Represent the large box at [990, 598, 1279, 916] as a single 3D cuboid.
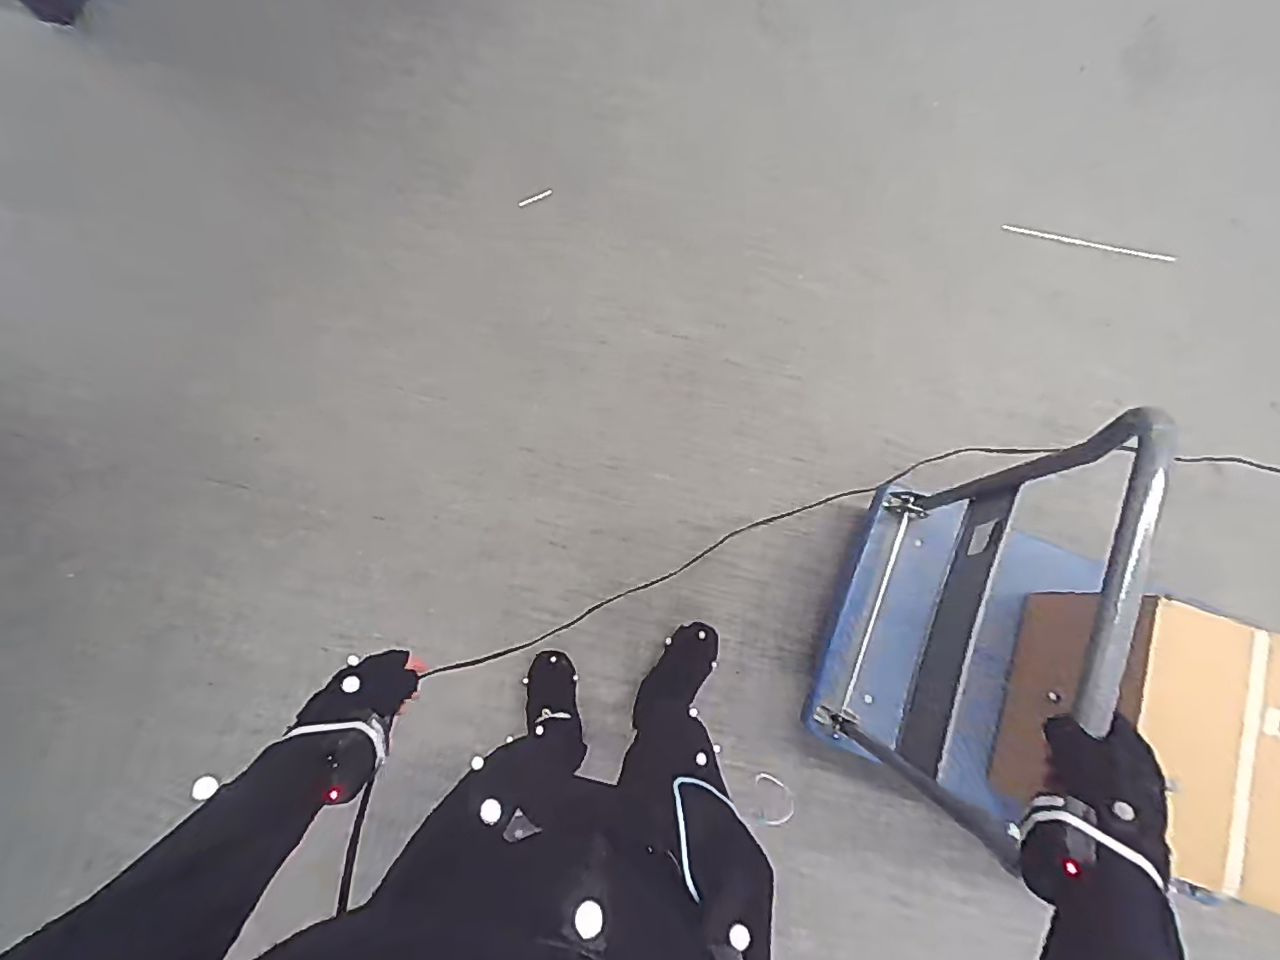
[{"bbox_3d":[0.903,0.454,0.973,0.320,0.320,0.408,19,79,3],"label":"large box"}]
